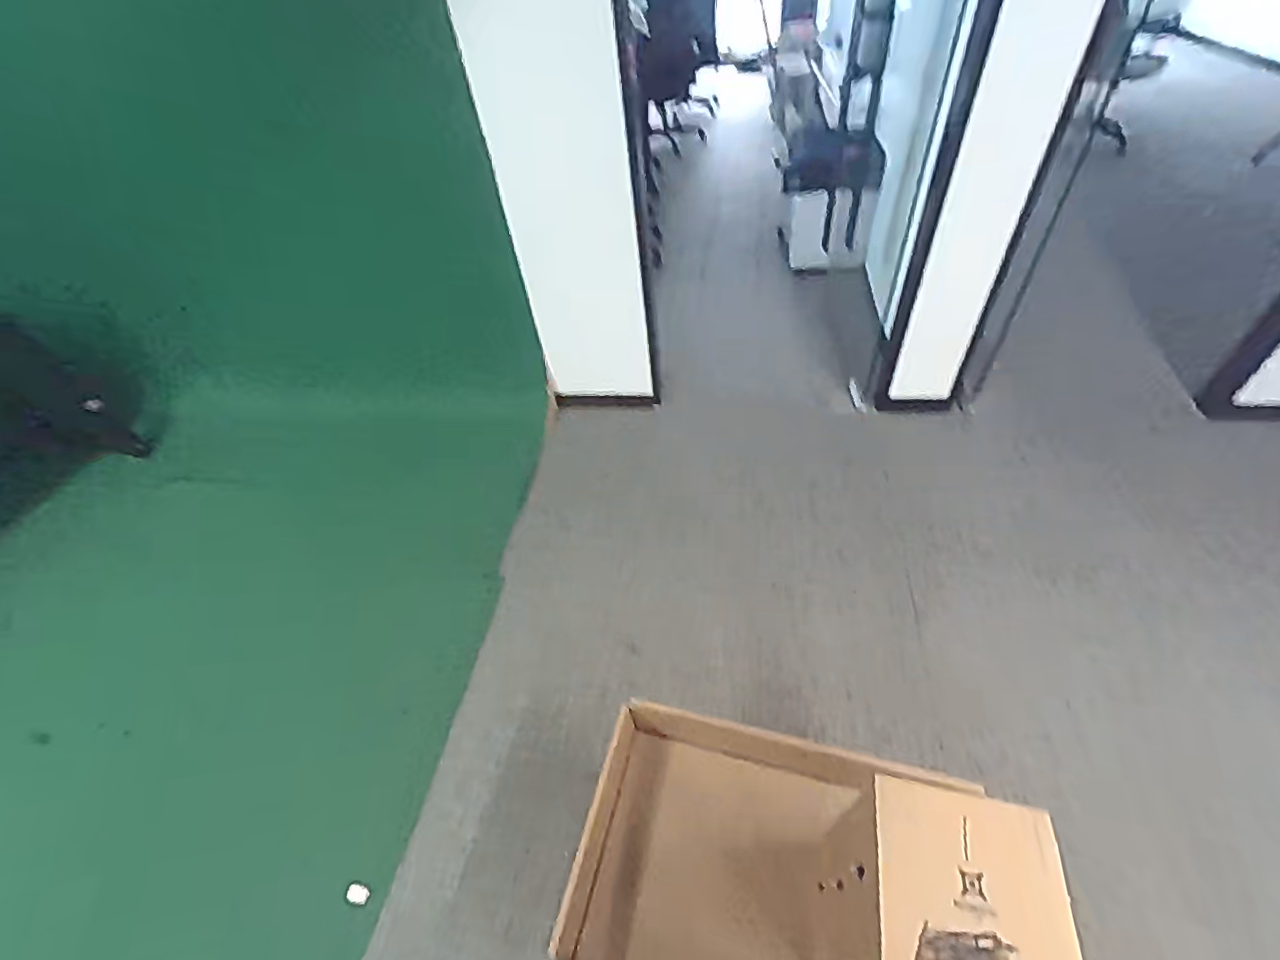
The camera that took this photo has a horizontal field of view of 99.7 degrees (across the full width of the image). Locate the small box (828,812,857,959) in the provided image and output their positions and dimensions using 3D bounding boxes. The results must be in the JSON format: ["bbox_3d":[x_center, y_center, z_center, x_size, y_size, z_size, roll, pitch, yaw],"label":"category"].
[{"bbox_3d":[0.332,0.548,0.672,0.168,0.176,0.179,7,49,14],"label":"small box"}]

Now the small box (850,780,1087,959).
[{"bbox_3d":[0.316,0.440,0.550,0.168,0.176,0.179,7,48,14],"label":"small box"}]

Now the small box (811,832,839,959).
[{"bbox_3d":[0.349,0.655,0.794,0.168,0.176,0.179,7,48,14],"label":"small box"}]
